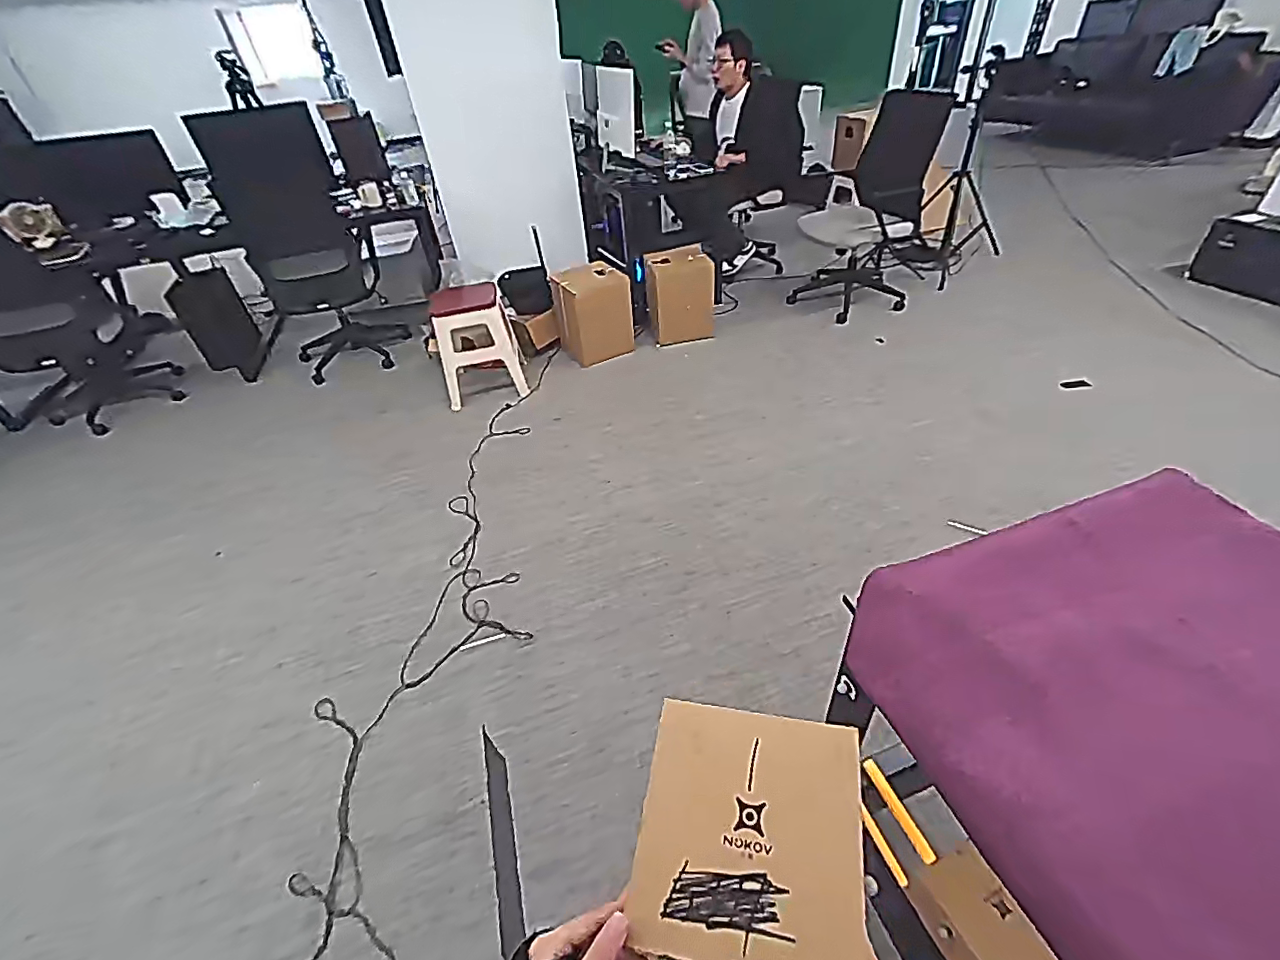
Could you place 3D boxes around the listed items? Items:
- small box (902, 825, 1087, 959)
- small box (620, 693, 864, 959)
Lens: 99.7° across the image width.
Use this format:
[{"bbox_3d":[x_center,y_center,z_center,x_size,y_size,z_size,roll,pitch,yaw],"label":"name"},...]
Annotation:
[{"bbox_3d":[0.576,0.728,0.904,0.168,0.176,0.179,-20,41,-13],"label":"small box"},{"bbox_3d":[0.095,0.311,0.464,0.168,0.176,0.179,3,48,16],"label":"small box"}]
